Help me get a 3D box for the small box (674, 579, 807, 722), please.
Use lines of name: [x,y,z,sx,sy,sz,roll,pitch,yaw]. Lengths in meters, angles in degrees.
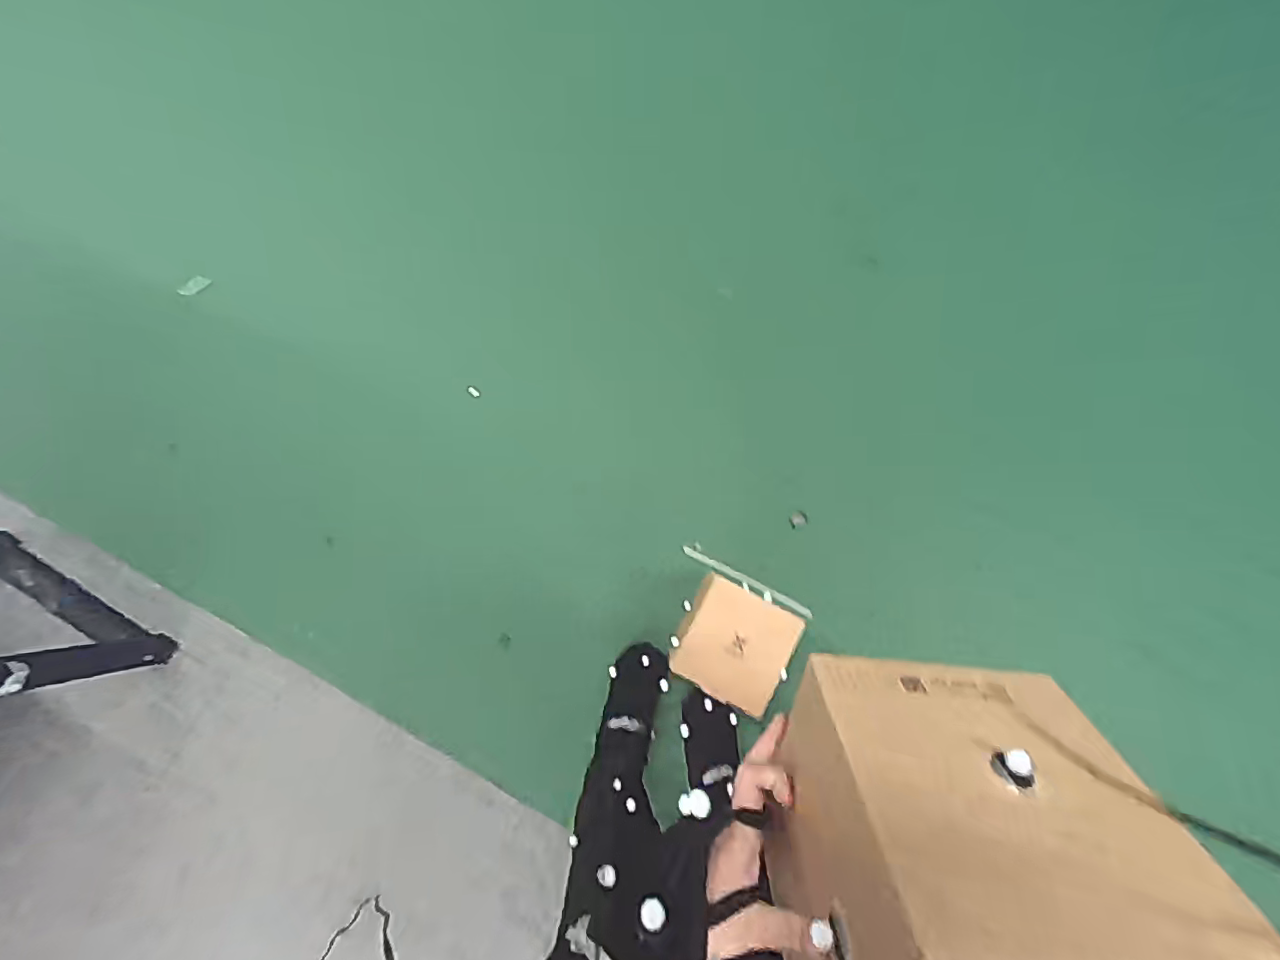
small box: [0.169,0.289,0.963,0.168,0.176,0.179,27,84,8]
